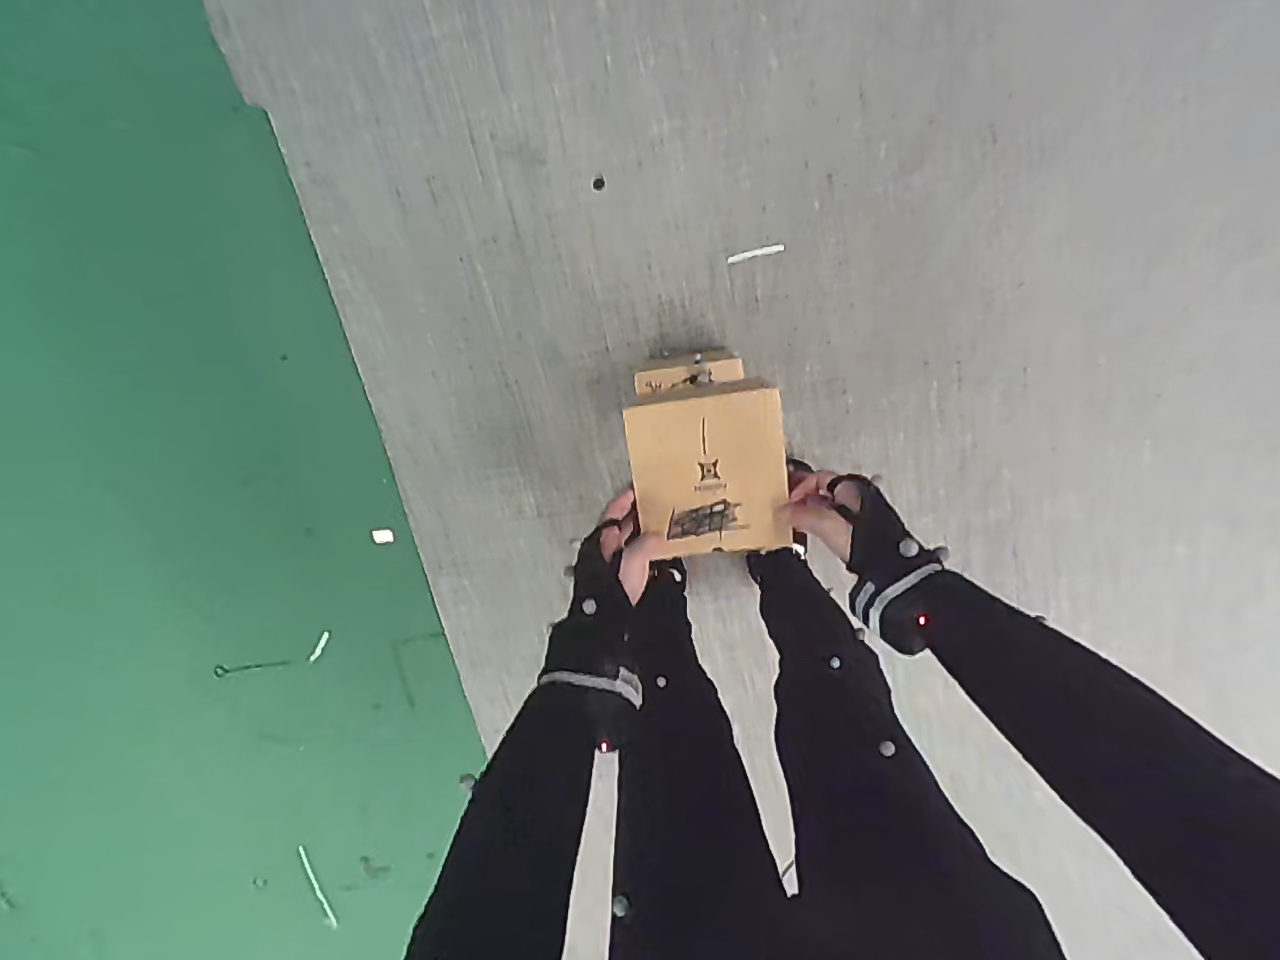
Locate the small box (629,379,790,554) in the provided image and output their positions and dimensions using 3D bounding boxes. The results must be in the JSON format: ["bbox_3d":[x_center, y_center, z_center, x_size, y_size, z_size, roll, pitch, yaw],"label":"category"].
[{"bbox_3d":[0.088,-0.024,0.678,0.168,0.176,0.179,-7,103,8],"label":"small box"}]

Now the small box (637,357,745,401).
[{"bbox_3d":[0.092,-0.105,0.912,0.168,0.176,0.179,-7,106,6],"label":"small box"}]
